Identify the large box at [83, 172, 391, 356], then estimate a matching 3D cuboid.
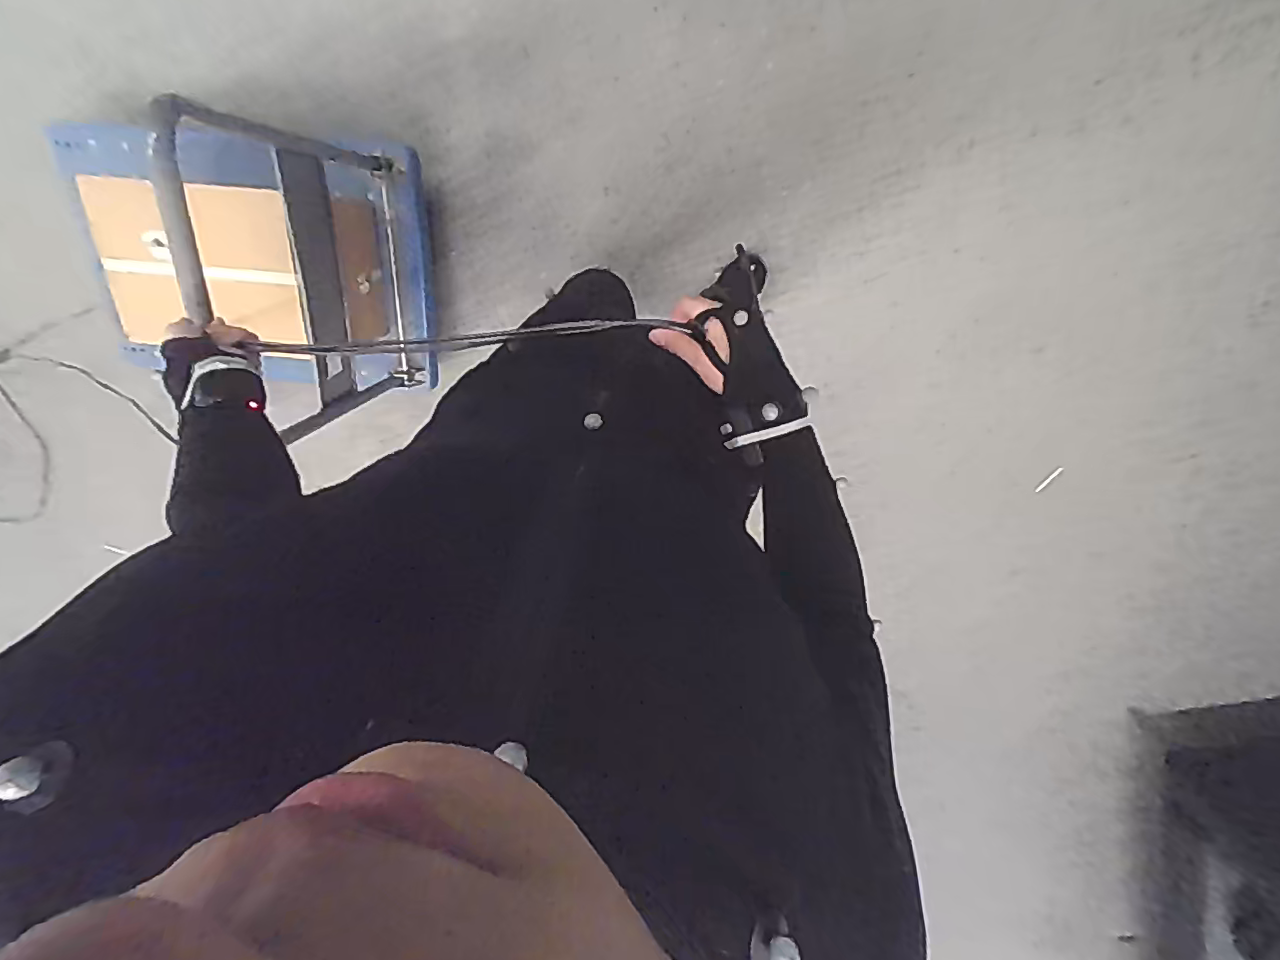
[{"bbox_3d":[-0.827,-0.472,1.182,0.408,0.320,0.320,7,115,3],"label":"large box"}]
